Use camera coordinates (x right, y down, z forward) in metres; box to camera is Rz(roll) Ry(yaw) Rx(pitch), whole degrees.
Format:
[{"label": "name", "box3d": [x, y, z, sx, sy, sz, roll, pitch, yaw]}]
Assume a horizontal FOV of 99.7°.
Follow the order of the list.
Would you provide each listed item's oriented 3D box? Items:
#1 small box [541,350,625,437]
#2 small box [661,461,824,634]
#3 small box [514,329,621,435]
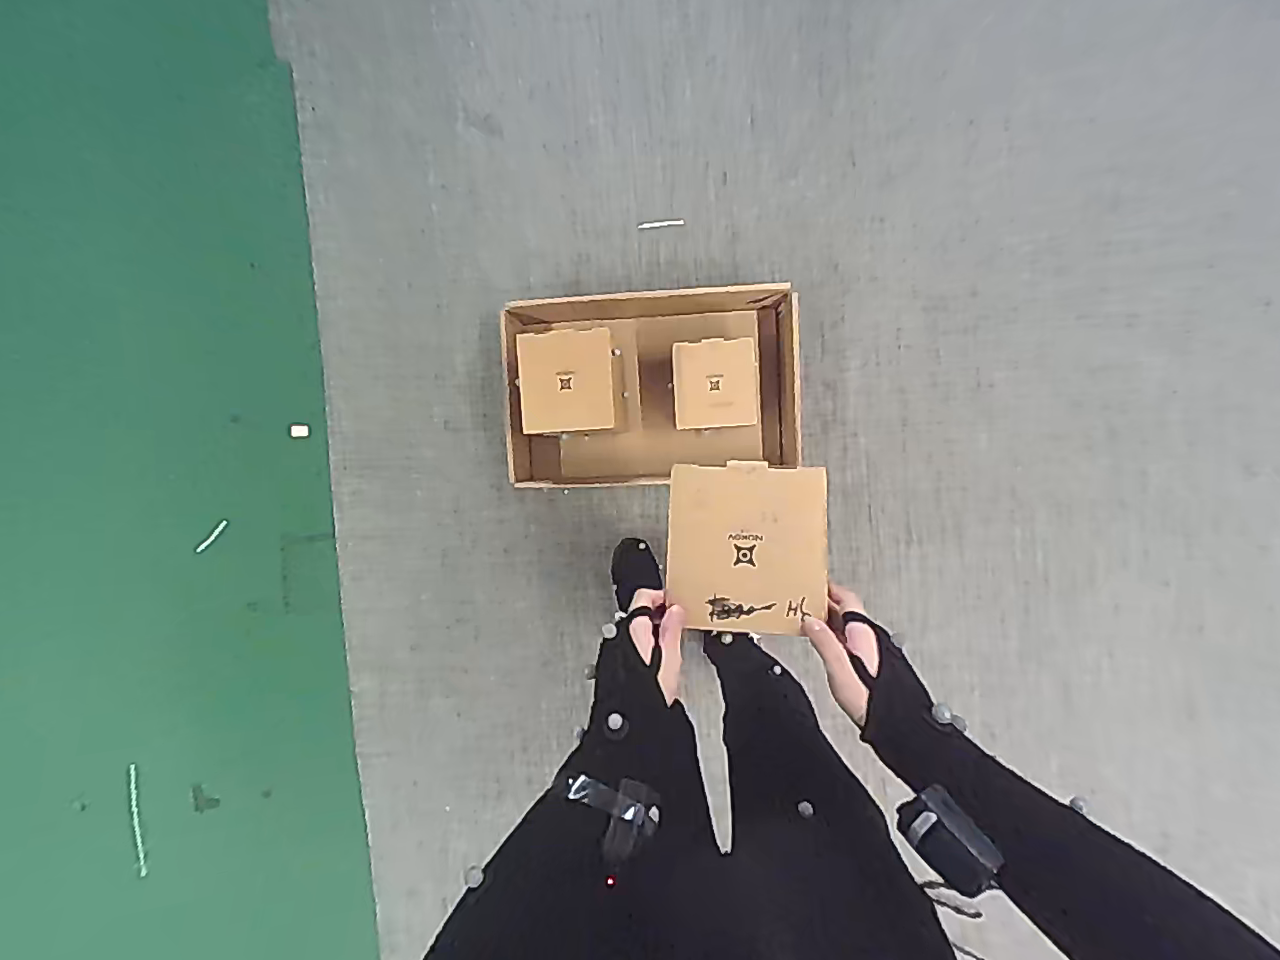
[{"label": "small box", "box3d": [-0.122, -0.183, 1.181, 0.168, 0.176, 0.179, -2, 92, 3]}, {"label": "small box", "box3d": [0.119, 0.082, 0.643, 0.168, 0.176, 0.179, 1, 79, 9]}, {"label": "small box", "box3d": [-0.128, -0.175, 1.019, 0.168, 0.176, 0.179, -3, 93, 4]}]
